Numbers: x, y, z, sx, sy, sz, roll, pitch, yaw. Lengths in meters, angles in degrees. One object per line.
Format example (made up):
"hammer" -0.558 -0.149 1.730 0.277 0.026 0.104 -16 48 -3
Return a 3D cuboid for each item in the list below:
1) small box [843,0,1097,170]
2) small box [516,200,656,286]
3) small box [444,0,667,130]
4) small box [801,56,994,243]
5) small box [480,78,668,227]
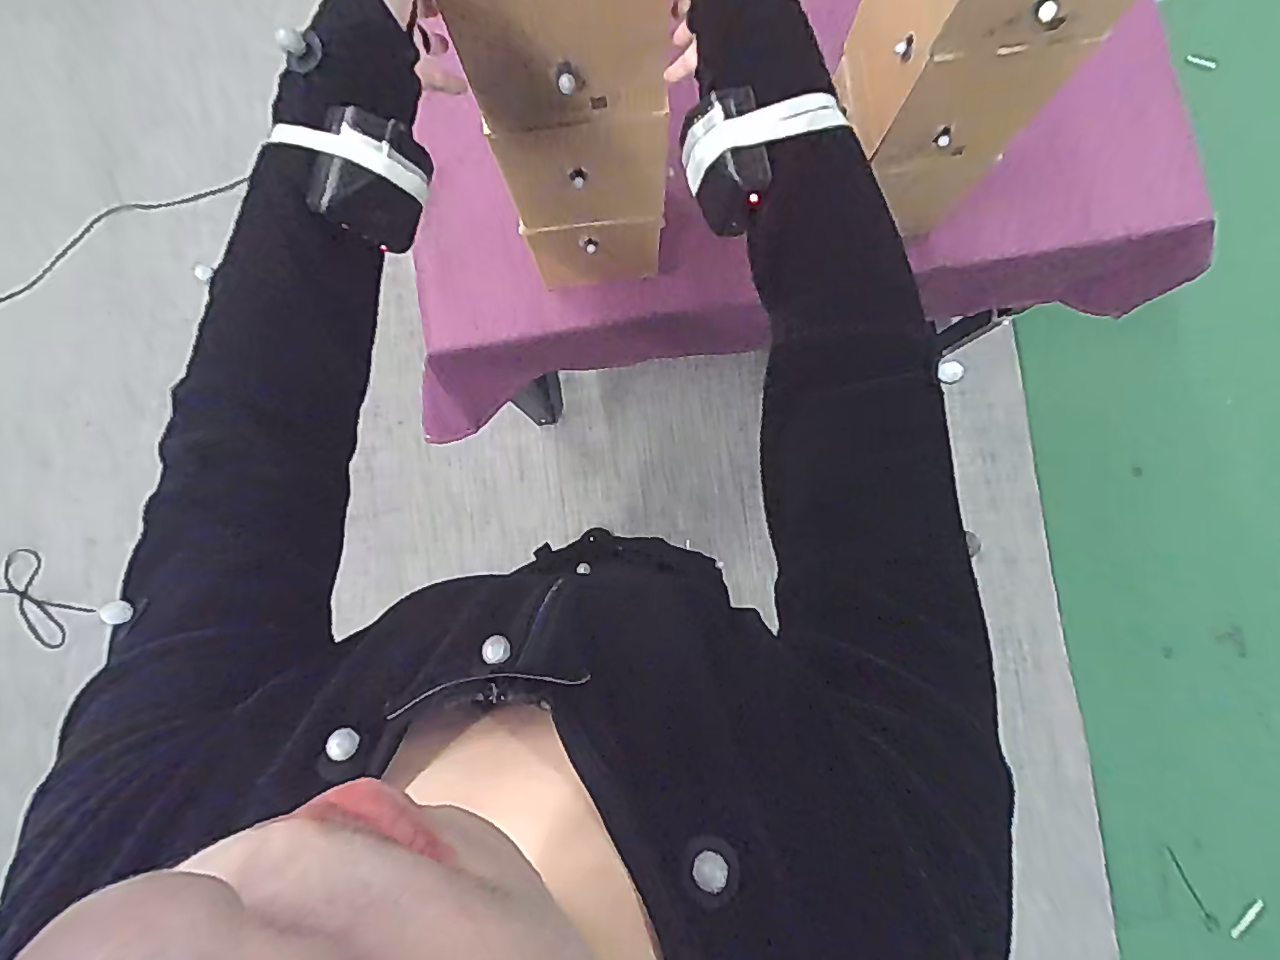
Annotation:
"small box" 0.339 -0.480 0.592 0.168 0.176 0.179 -7 86 0
"small box" -0.071 -0.386 0.753 0.179 0.176 0.168 -6 86 0
"small box" -0.070 -0.423 0.427 0.168 0.176 0.179 -7 86 0
"small box" 0.344 -0.456 0.754 0.179 0.176 0.168 -7 85 -1
"small box" -0.067 -0.403 0.591 0.179 0.176 0.168 -7 86 1
